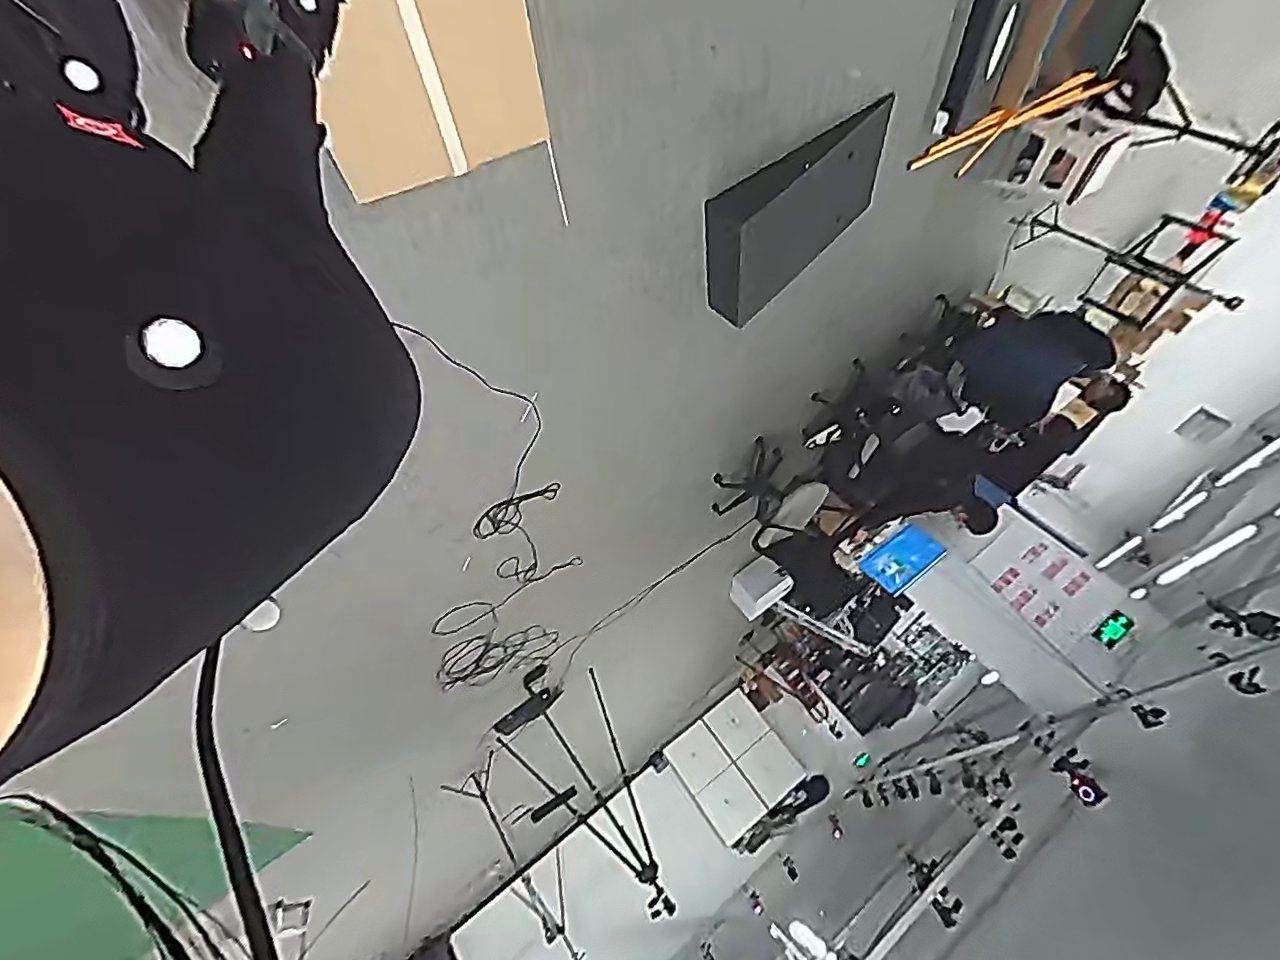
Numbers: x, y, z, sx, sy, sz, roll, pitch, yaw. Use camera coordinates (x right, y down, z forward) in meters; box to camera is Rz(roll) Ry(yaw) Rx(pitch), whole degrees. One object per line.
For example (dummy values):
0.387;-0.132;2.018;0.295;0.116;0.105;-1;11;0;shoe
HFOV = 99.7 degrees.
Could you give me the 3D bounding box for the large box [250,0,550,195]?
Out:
-0.358;-0.678;0.707;0.320;0.320;0.408;-29;148;-14;large box
